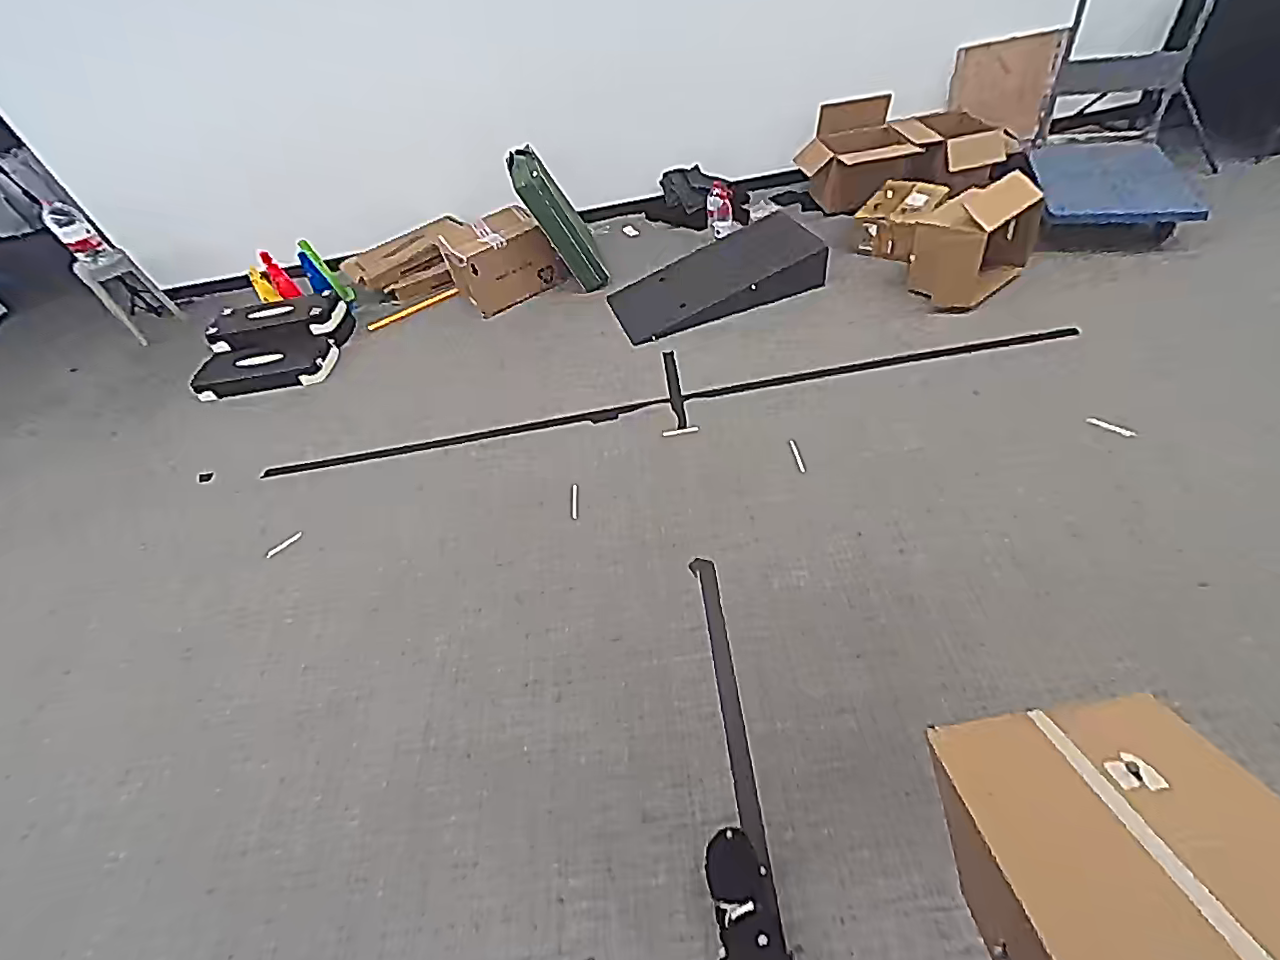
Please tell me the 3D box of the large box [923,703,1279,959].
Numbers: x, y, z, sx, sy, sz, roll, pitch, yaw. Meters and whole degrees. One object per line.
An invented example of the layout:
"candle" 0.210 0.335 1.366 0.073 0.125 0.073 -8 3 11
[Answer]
"large box" 0.608 0.547 0.655 0.320 0.320 0.408 -14 10 10
